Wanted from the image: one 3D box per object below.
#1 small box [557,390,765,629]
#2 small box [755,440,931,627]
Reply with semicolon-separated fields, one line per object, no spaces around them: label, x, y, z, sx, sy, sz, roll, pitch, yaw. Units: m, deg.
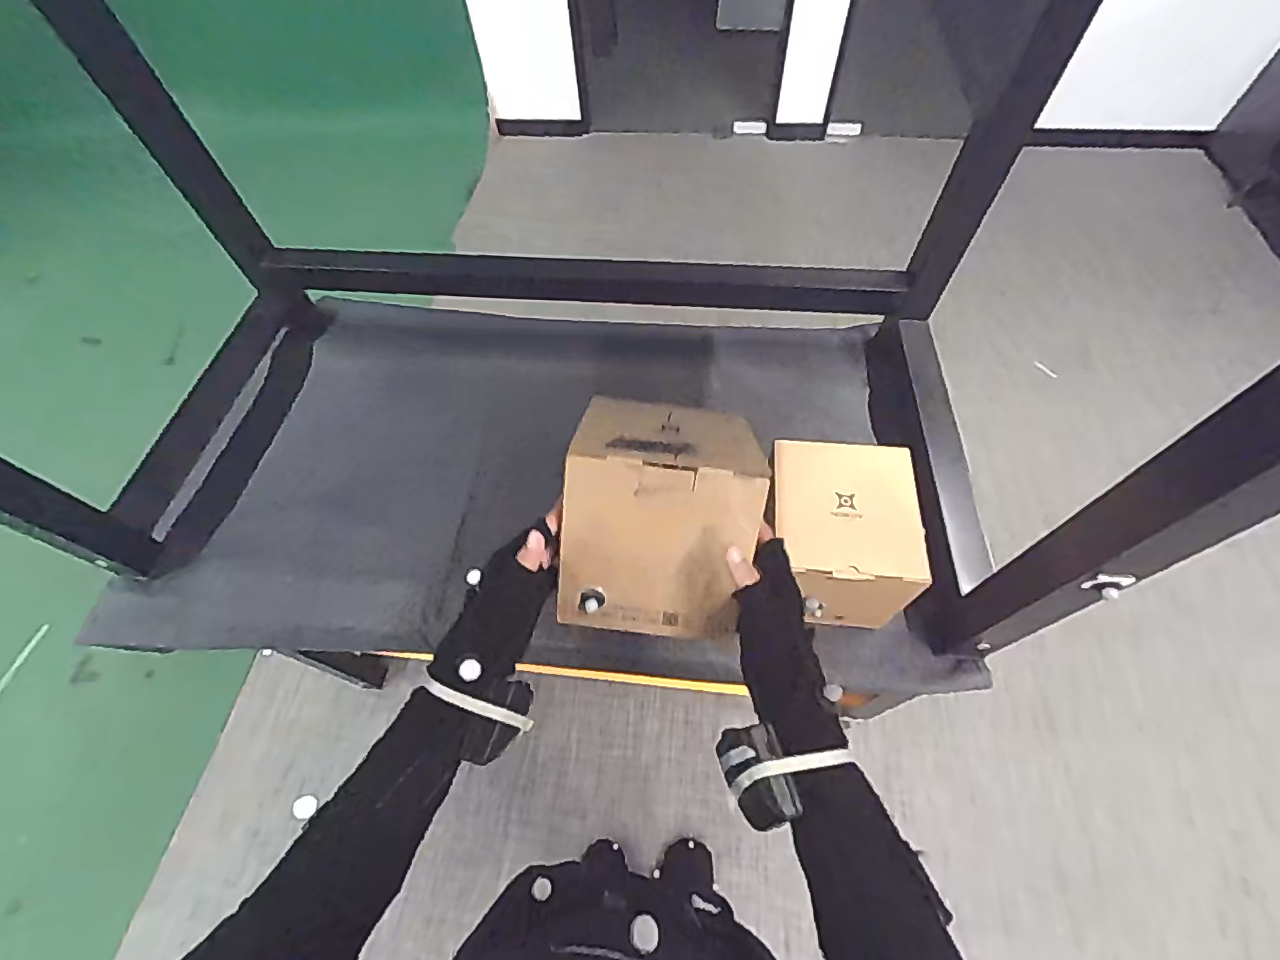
small box;0.015;0.022;0.526;0.168;0.176;0.179;7;23;0
small box;0.240;0.071;0.690;0.168;0.176;0.179;4;58;6
